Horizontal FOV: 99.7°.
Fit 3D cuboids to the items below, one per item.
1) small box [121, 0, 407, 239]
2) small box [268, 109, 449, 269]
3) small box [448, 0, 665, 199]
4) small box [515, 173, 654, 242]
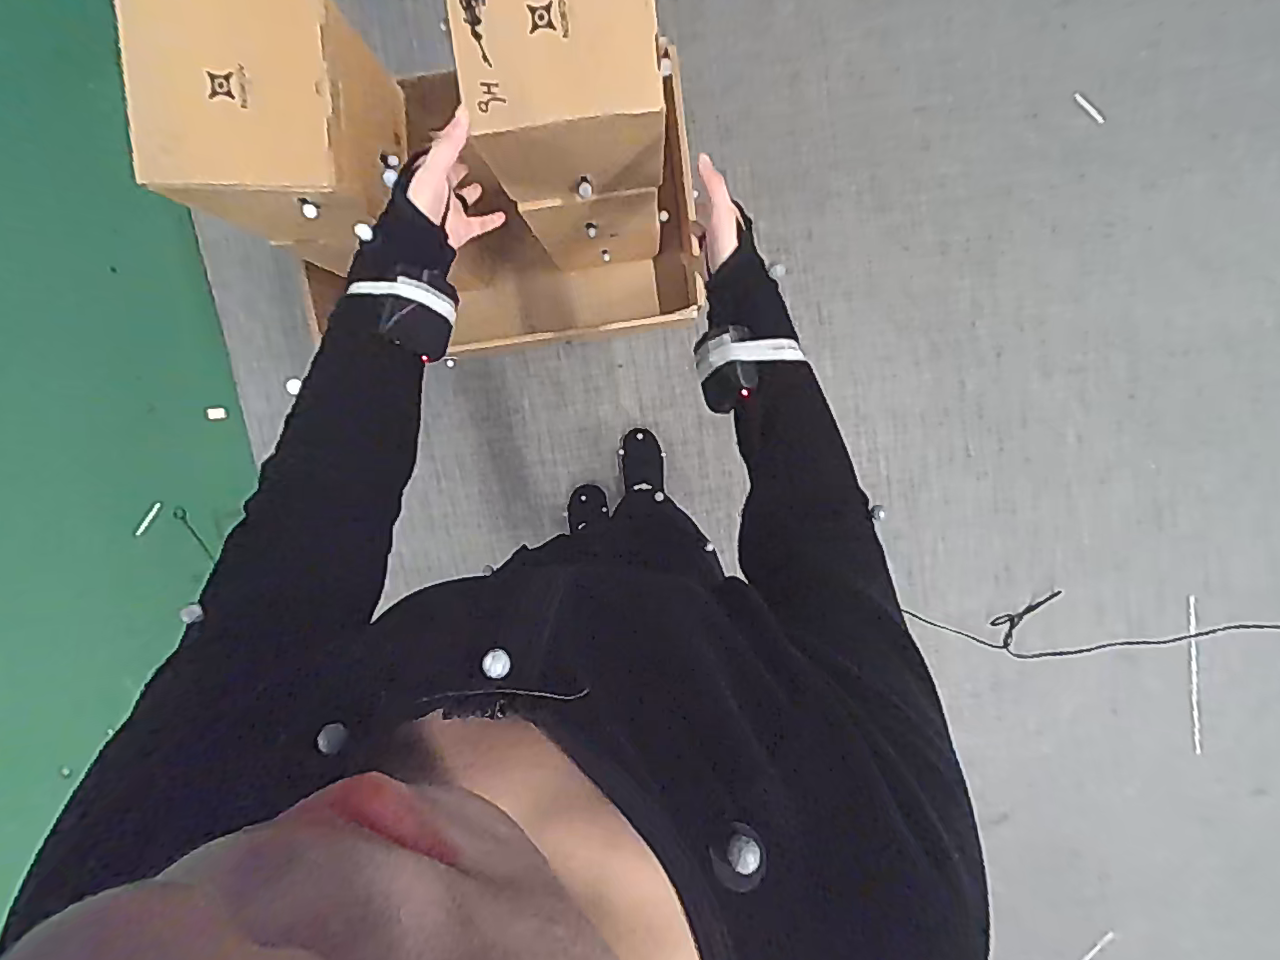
[{"bbox_3d":[-0.359,-0.356,0.549,0.179,0.176,0.168,1,98,-2],"label":"small box"},{"bbox_3d":[-0.363,-0.383,0.709,0.168,0.176,0.179,-2,98,0],"label":"small box"},{"bbox_3d":[-0.072,-0.397,0.532,0.179,0.176,0.168,-5,98,2],"label":"small box"},{"bbox_3d":[-0.070,-0.420,0.695,0.168,0.176,0.179,-6,98,2],"label":"small box"}]
